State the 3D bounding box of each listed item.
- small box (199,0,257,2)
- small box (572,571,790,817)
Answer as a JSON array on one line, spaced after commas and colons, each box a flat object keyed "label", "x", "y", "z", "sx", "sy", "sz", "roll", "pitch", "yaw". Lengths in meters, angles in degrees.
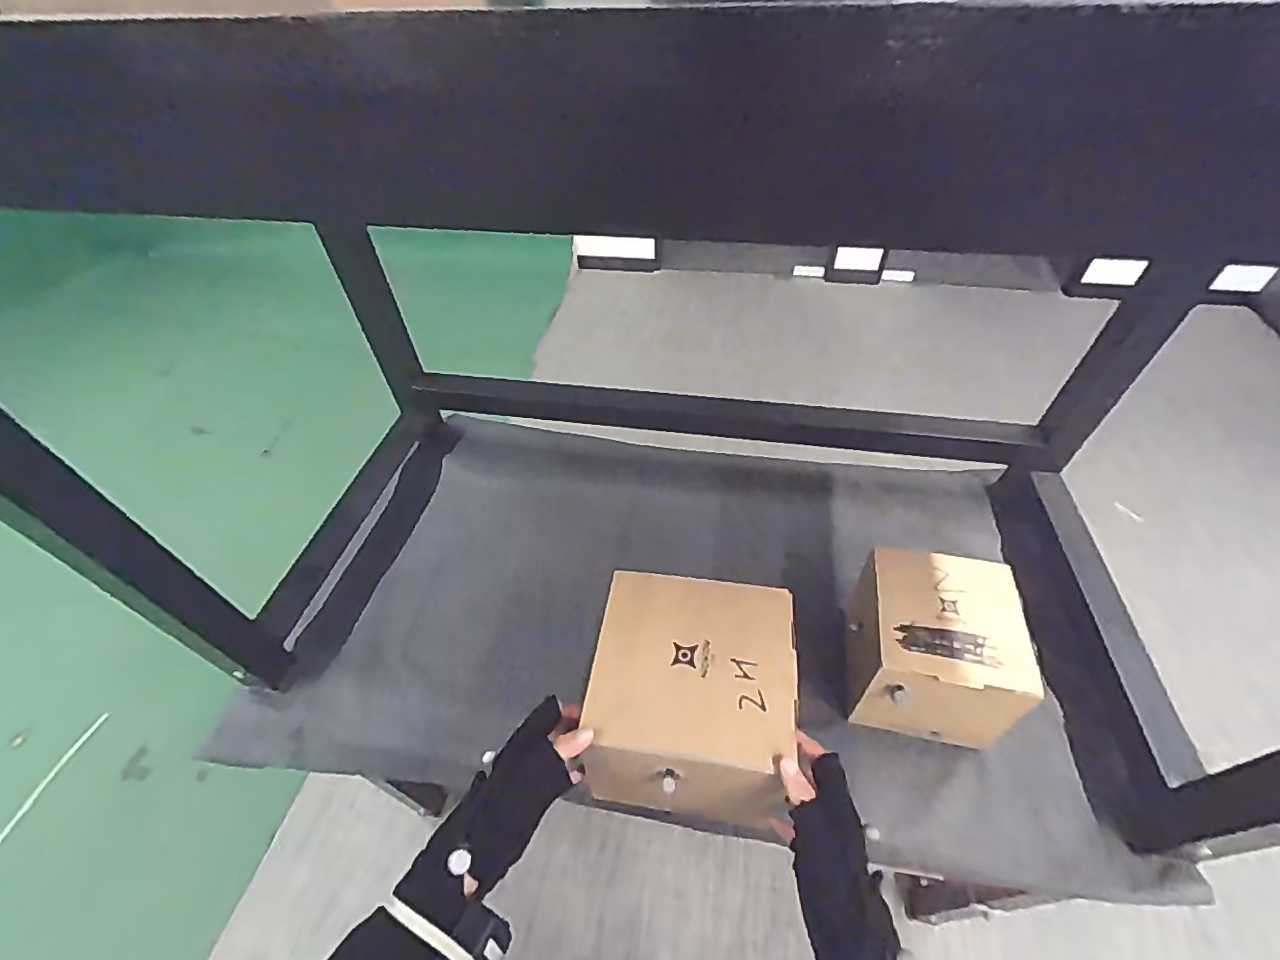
[{"label": "small box", "x": -0.198, "y": -0.322, "z": 0.228, "sx": 0.168, "sy": 0.176, "sz": 0.179, "roll": 5, "pitch": 47, "yaw": 7}, {"label": "small box", "x": 0.046, "y": 0.212, "z": 0.535, "sx": 0.179, "sy": 0.176, "sz": 0.168, "roll": 6, "pitch": 47, "yaw": 8}]
